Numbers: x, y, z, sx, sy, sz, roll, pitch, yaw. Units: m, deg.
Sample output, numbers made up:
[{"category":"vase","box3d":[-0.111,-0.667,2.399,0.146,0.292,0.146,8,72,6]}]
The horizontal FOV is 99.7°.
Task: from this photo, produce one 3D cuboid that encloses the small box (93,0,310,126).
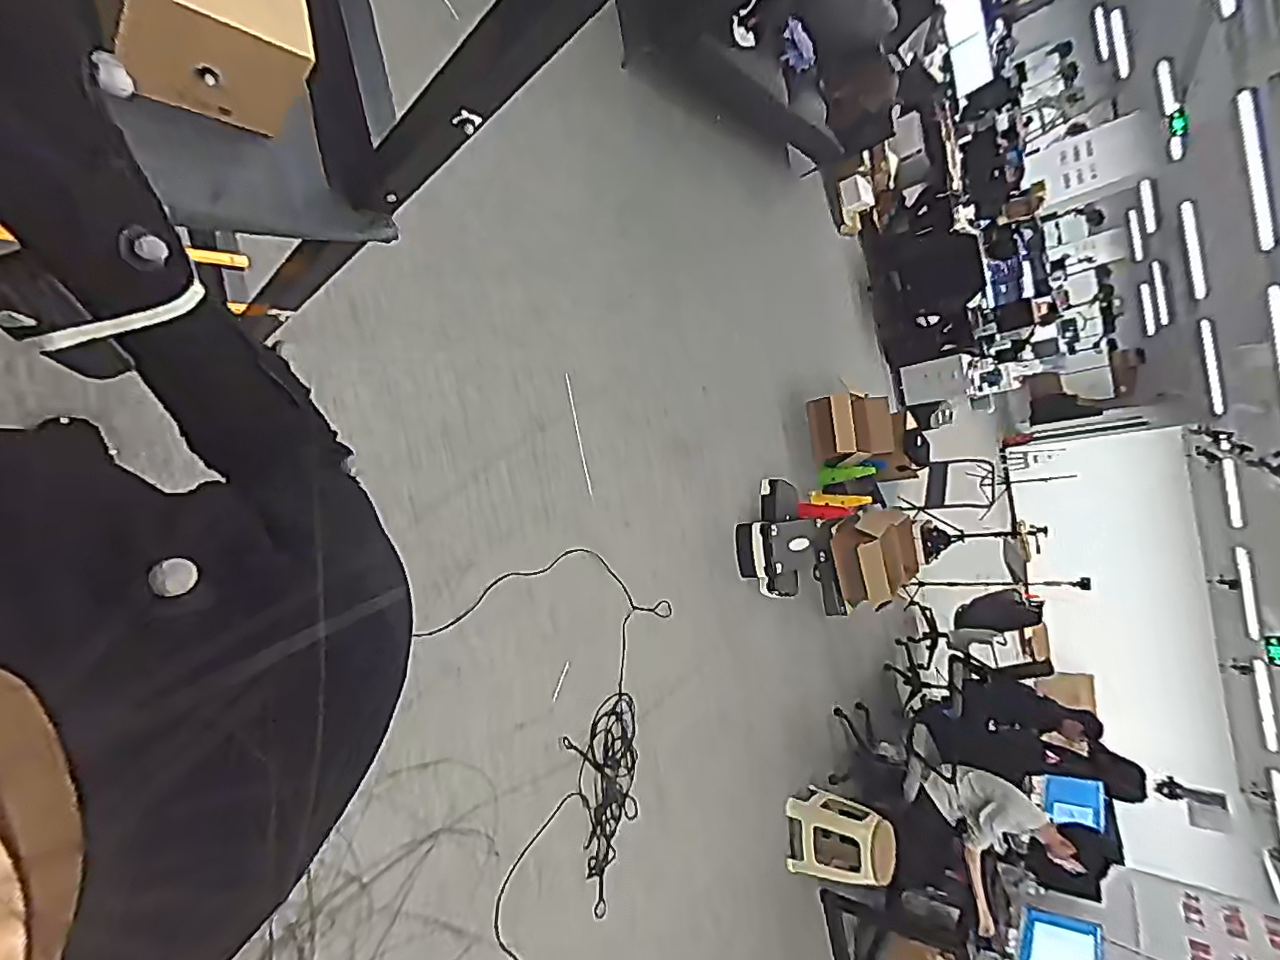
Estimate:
[{"category":"small box","box3d":[-0.513,-0.561,0.628,0.168,0.176,0.179,-9,89,-50]}]
